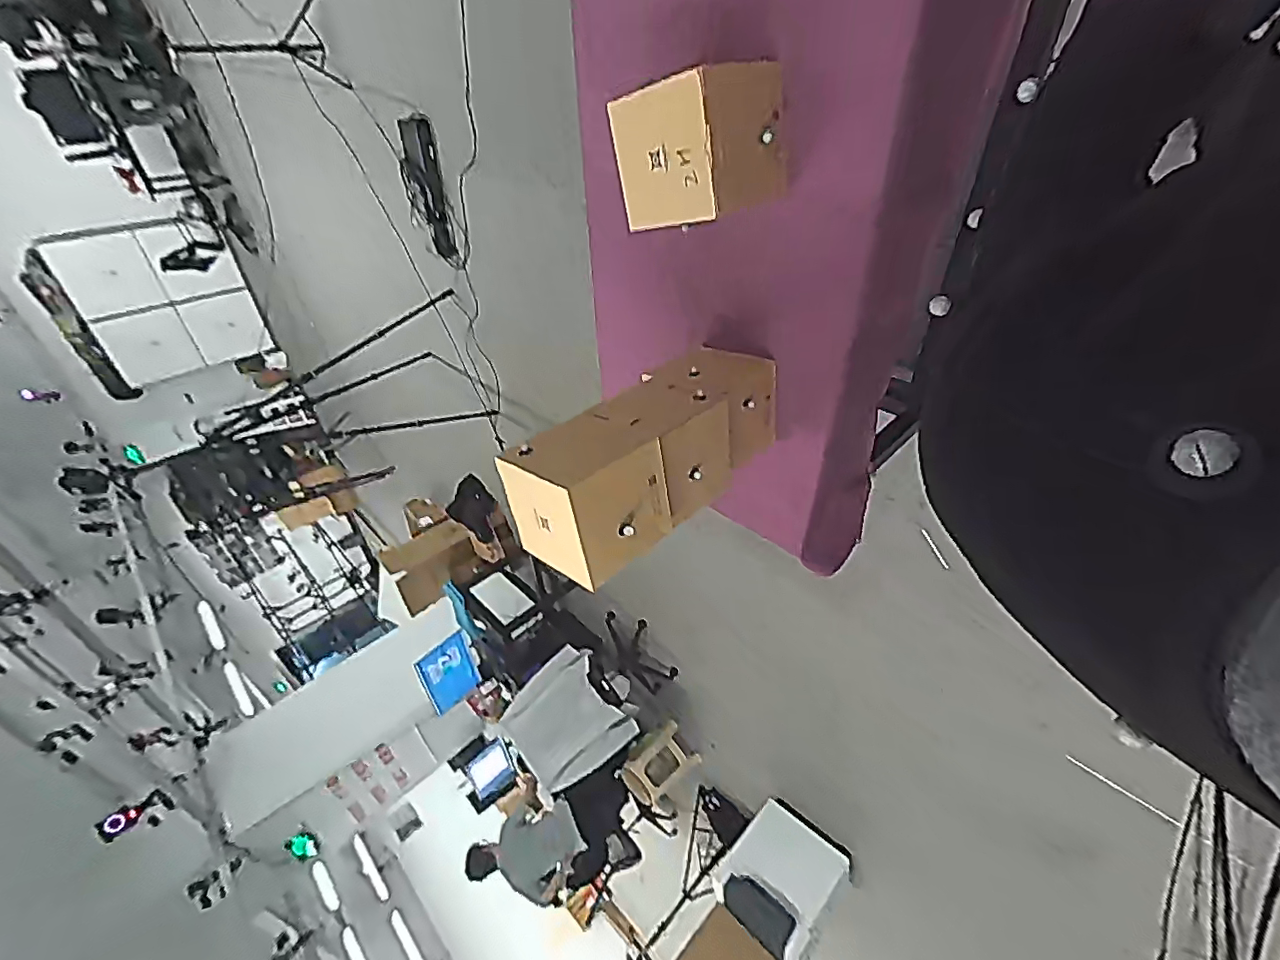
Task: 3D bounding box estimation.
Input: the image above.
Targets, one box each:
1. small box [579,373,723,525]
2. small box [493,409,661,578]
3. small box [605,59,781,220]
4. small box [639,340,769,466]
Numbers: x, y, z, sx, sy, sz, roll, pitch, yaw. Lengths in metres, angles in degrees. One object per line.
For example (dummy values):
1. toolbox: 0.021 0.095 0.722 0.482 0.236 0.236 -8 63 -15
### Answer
1. small box: 0.025 -0.062 0.900 0.168 0.176 0.179 25 135 40
2. small box: -0.082 0.008 0.799 0.179 0.176 0.168 22 132 43
3. small box: 0.080 -0.481 0.776 0.179 0.176 0.168 20 132 44
4. small box: 0.123 -0.147 1.003 0.179 0.176 0.168 26 135 40
